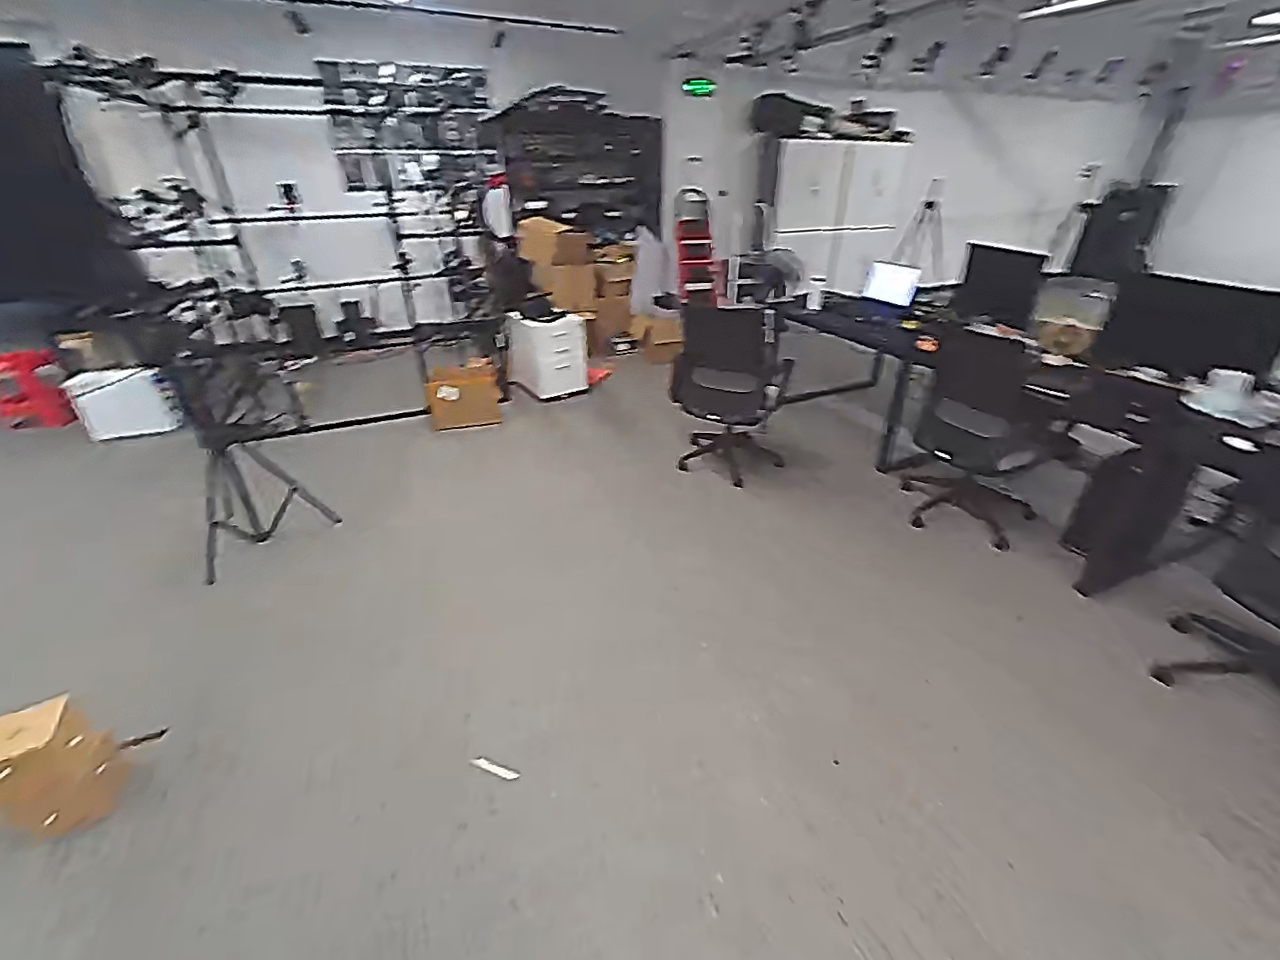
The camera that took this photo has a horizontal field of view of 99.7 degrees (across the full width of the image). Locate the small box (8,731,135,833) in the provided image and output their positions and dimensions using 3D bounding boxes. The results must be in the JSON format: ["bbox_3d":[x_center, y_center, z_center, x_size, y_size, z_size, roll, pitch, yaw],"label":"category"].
[{"bbox_3d":[-1.577,0.852,1.517,0.168,0.176,0.179,-10,31,-18],"label":"small box"}]

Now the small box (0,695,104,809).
[{"bbox_3d":[-1.580,0.716,1.426,0.179,0.176,0.168,-16,33,-24],"label":"small box"}]
